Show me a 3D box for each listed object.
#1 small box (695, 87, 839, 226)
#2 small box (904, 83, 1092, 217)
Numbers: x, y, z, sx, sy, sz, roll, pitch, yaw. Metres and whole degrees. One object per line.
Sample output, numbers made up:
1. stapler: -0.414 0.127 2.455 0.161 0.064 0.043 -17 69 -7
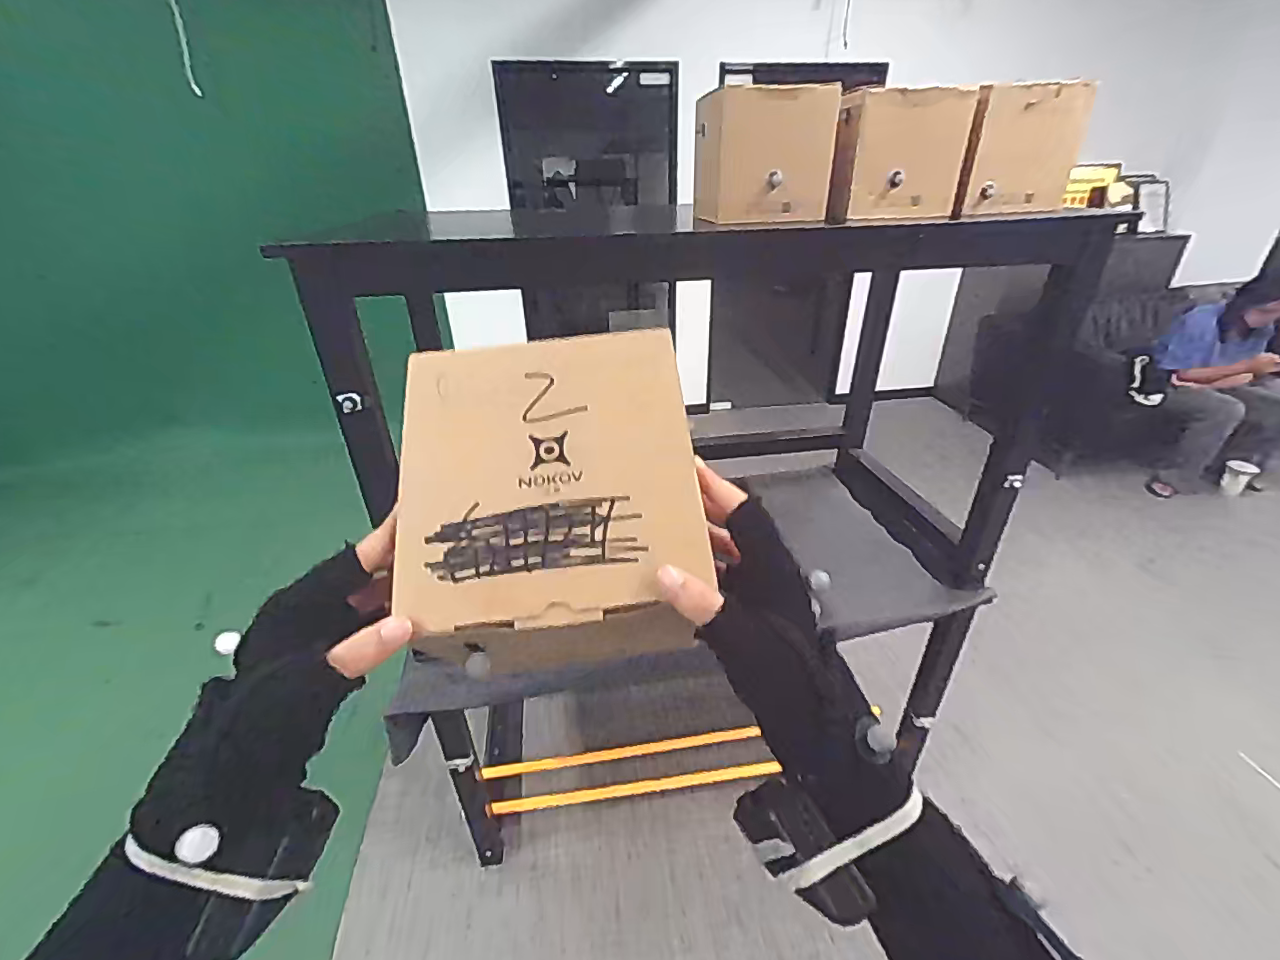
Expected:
1. small box: 0.181 -0.491 0.835 0.168 0.176 0.179 -4 29 -5
2. small box: 0.560 -0.523 0.875 0.168 0.176 0.179 -4 28 -4
